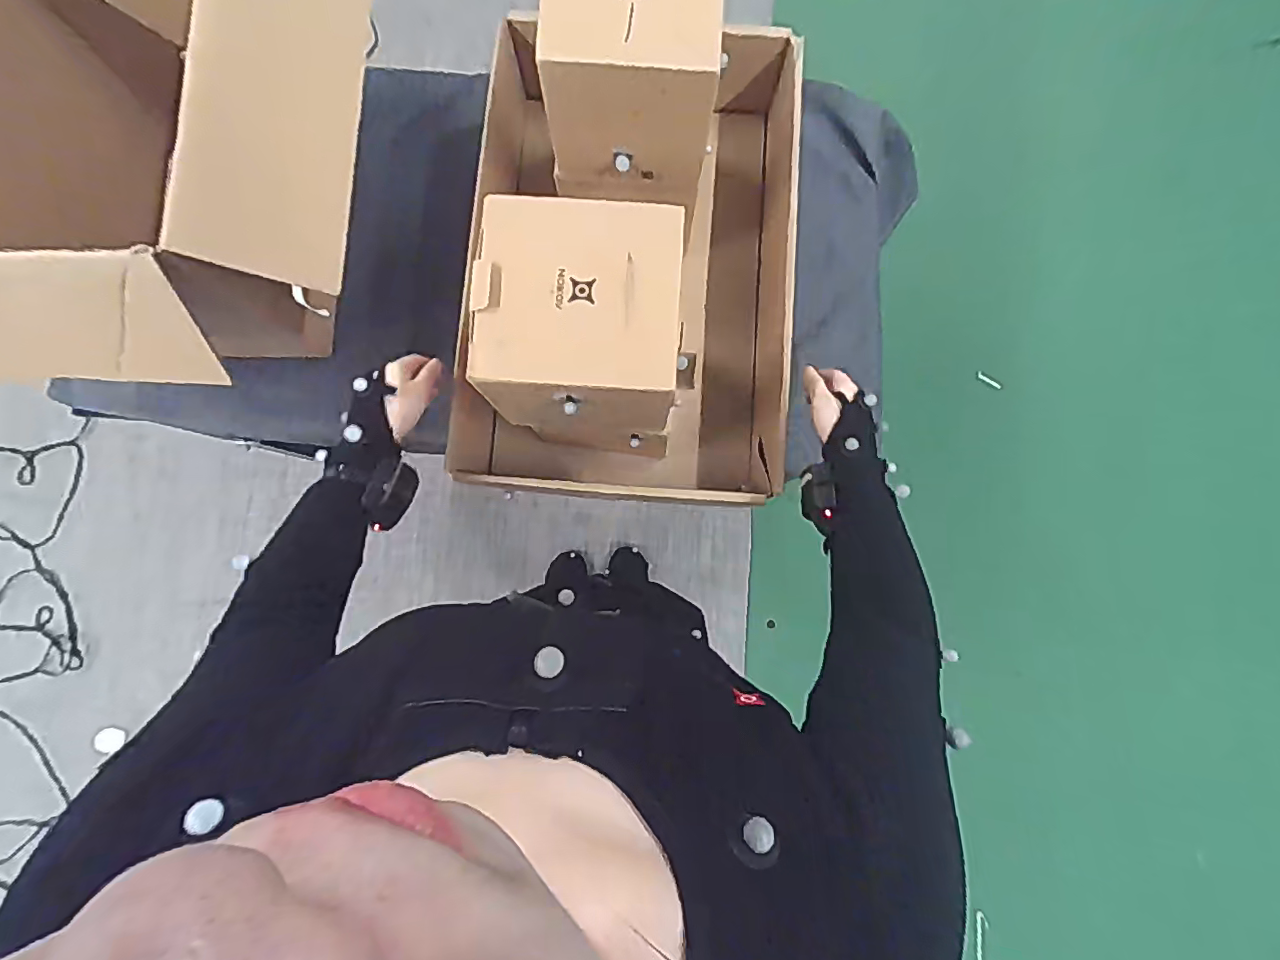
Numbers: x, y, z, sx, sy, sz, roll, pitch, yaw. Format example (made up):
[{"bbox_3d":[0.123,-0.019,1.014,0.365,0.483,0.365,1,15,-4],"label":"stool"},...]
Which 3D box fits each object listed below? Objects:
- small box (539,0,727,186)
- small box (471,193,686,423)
[{"bbox_3d":[-0.004,-0.446,0.563,0.168,0.176,0.179,4,86,0],"label":"small box"},{"bbox_3d":[-0.051,-0.156,0.540,0.179,0.176,0.168,3,85,-1],"label":"small box"}]
